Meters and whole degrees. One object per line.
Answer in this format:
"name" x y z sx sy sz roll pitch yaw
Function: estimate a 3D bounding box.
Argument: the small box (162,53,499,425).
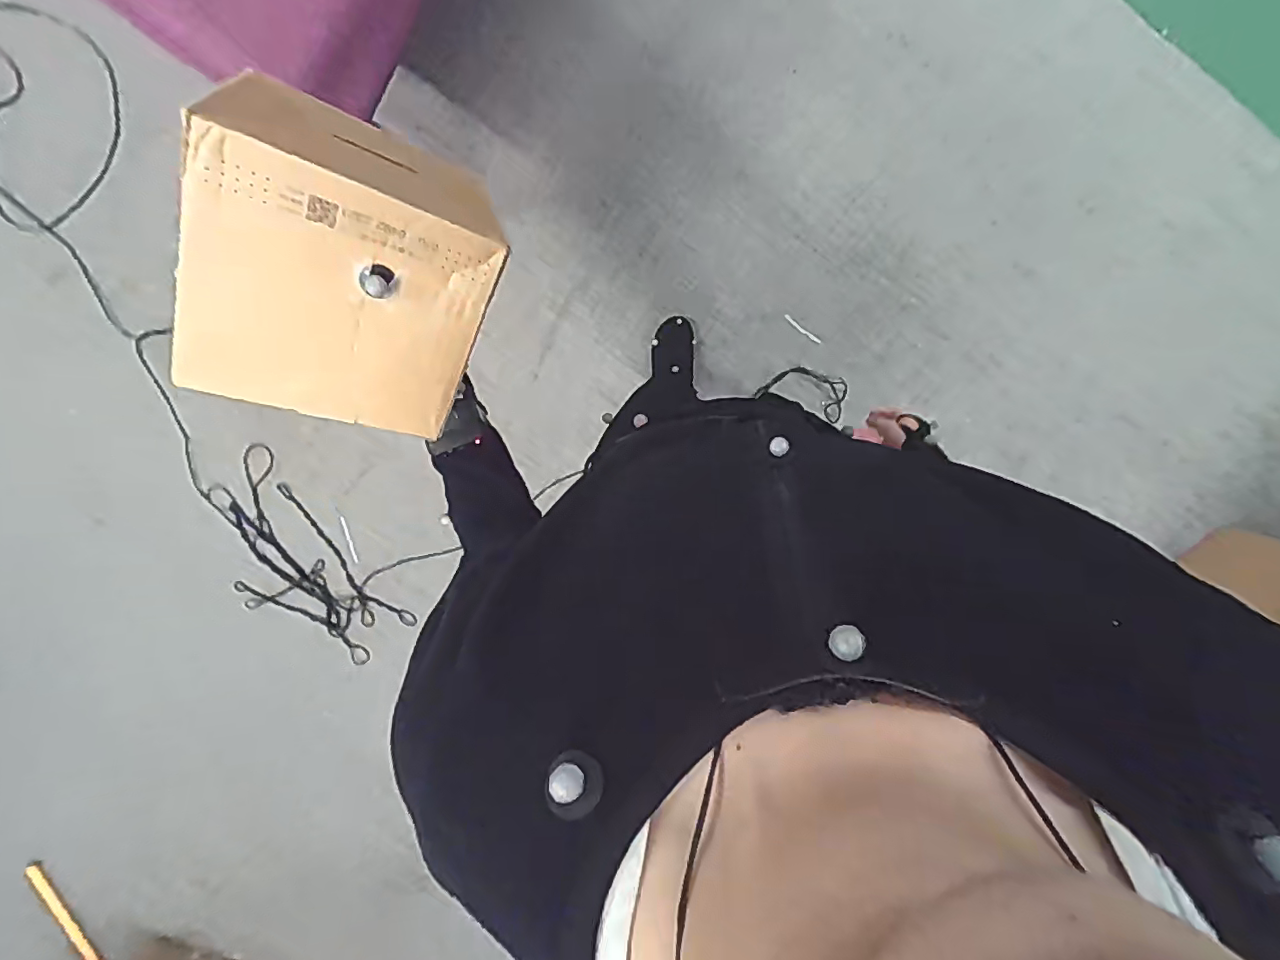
"small box" -0.215 -0.172 0.396 0.168 0.179 0.176 12 124 -32
